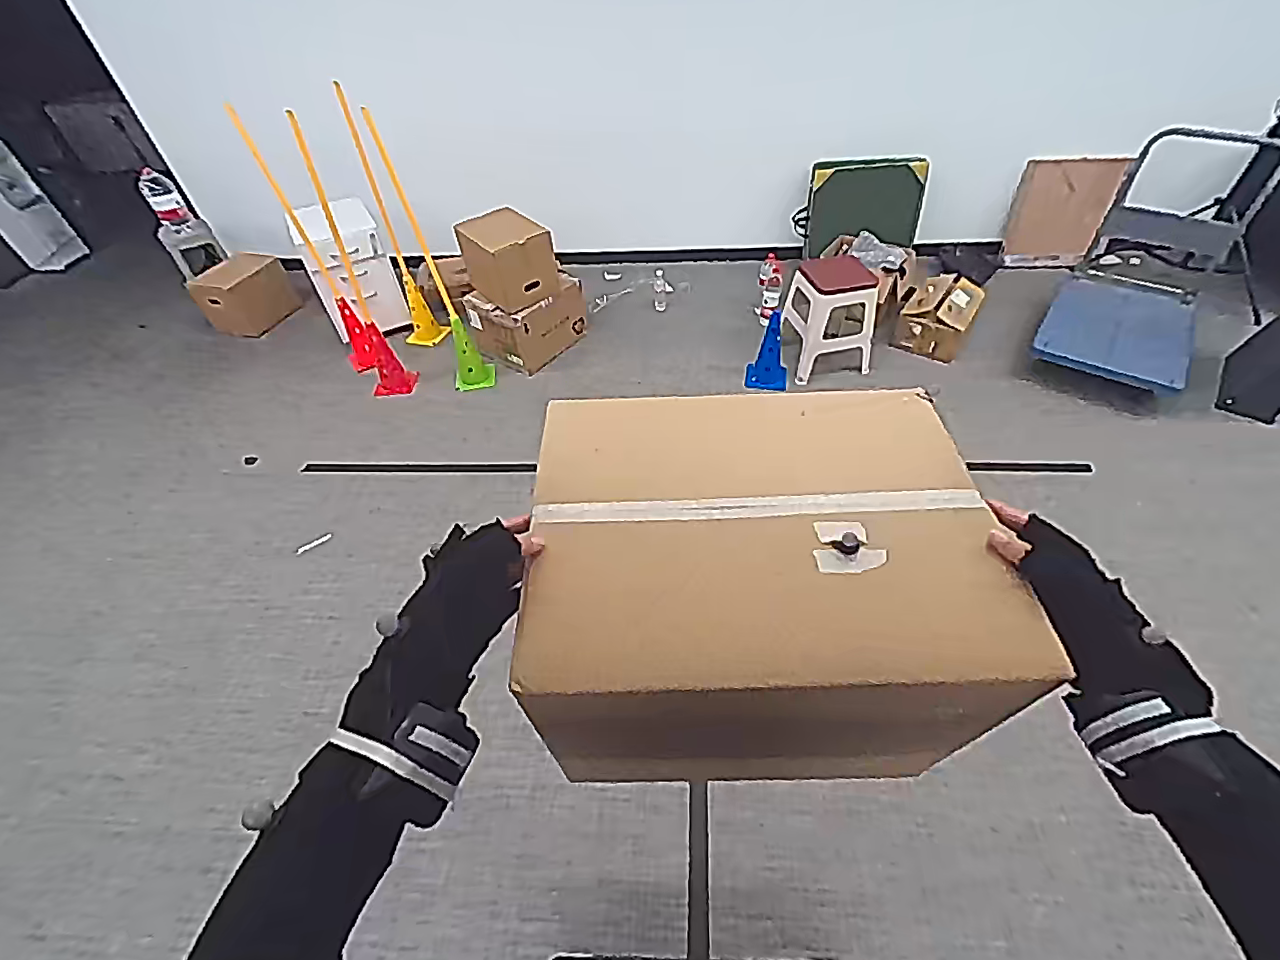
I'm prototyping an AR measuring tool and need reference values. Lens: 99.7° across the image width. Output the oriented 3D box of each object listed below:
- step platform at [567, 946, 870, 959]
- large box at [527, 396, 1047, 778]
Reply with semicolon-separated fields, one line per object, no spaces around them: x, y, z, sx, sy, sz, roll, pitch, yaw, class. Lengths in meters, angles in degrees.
0.167;1.135;1.092;0.684;0.204;0.286;-1;47;2;step platform
0.108;0.127;0.613;0.408;0.320;0.320;-2;51;0;large box
